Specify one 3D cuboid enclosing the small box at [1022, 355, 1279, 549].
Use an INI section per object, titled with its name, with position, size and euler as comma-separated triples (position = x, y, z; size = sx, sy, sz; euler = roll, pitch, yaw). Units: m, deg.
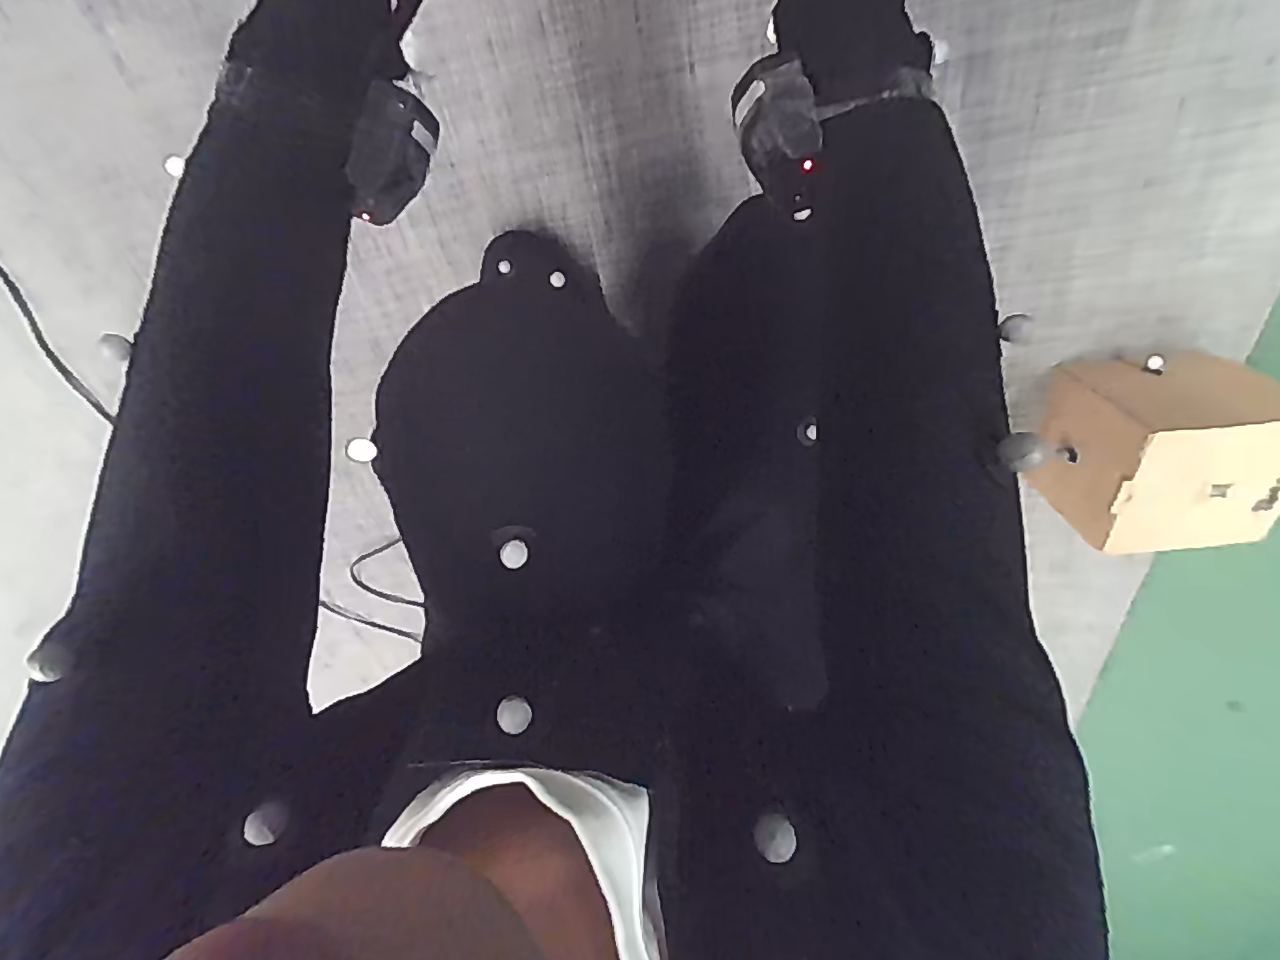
[small box]
position = 0.602, -0.037, 0.643
size = 0.179, 0.176, 0.168
euler = -4, 125, 6
